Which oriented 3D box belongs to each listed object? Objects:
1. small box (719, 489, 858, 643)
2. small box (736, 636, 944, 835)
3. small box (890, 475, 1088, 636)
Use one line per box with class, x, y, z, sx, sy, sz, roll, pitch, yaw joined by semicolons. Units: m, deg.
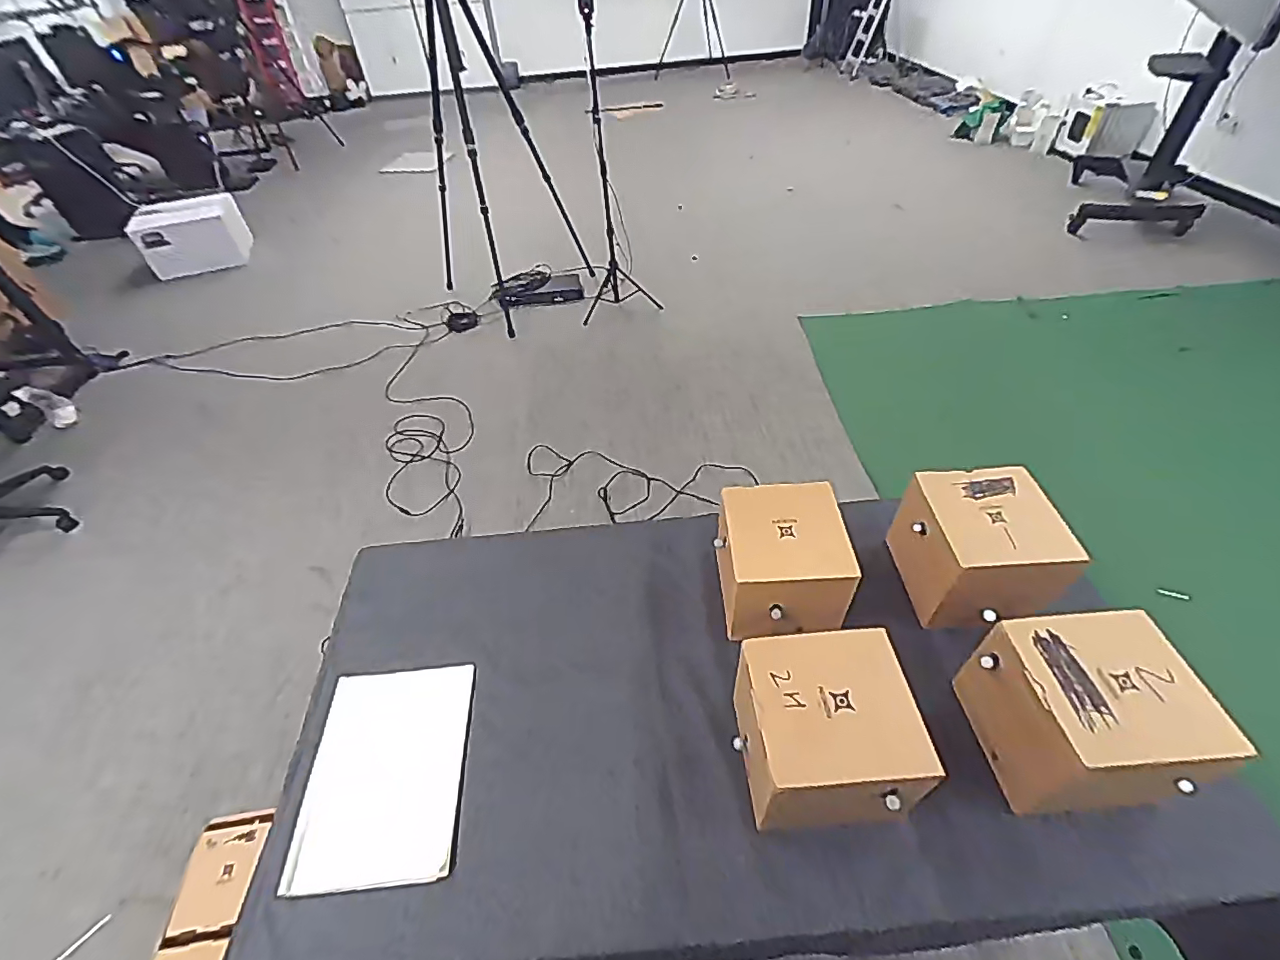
small box;0.212;0.135;0.822;0.168;0.176;0.179;-3;45;2
small box;0.218;0.306;0.647;0.179;0.176;0.168;-5;44;1
small box;0.501;0.114;0.813;0.168;0.176;0.179;-3;46;3
